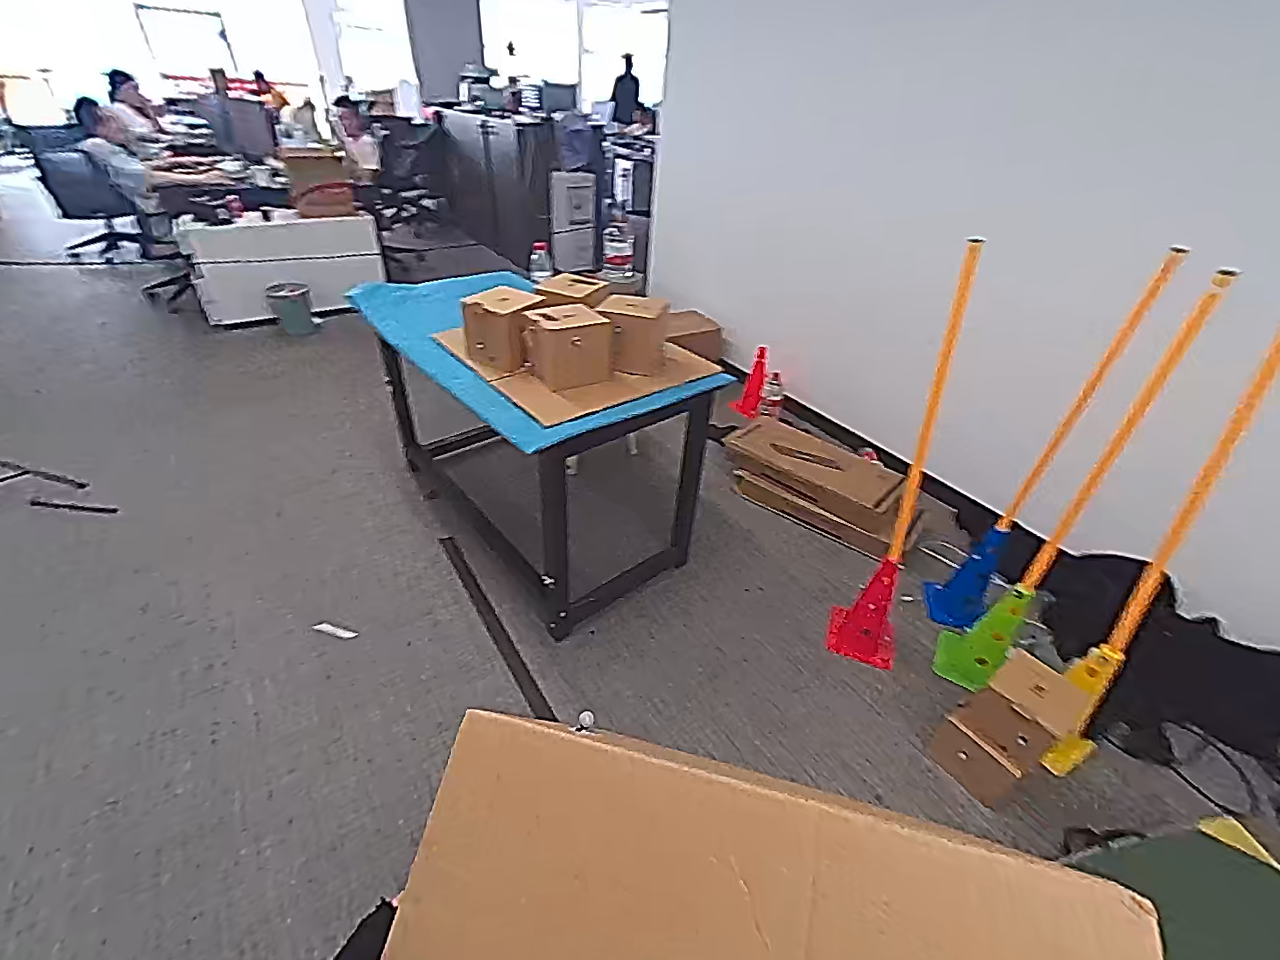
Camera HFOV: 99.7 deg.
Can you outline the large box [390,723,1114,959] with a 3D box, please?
[{"bbox_3d":[0.055,0.397,0.413,0.408,0.320,0.320,7,66,15],"label":"large box"}]
